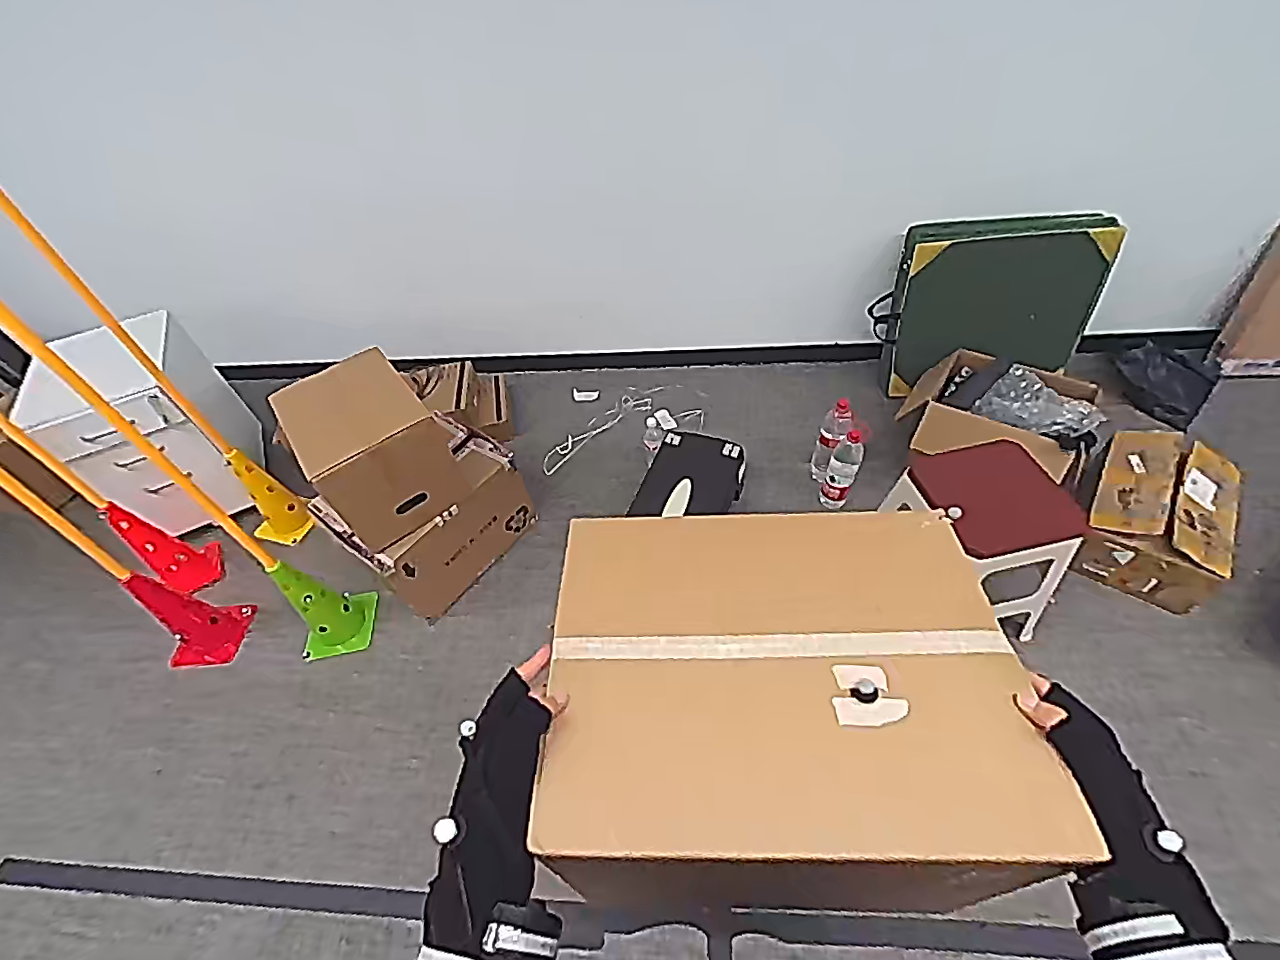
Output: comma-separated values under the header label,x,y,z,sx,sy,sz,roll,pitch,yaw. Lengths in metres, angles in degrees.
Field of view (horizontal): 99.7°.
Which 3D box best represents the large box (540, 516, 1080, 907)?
label,x,y,z,sx,sy,sz,roll,pitch,yaw
large box,0.130,0.260,0.605,0.408,0.320,0.320,-2,46,3
